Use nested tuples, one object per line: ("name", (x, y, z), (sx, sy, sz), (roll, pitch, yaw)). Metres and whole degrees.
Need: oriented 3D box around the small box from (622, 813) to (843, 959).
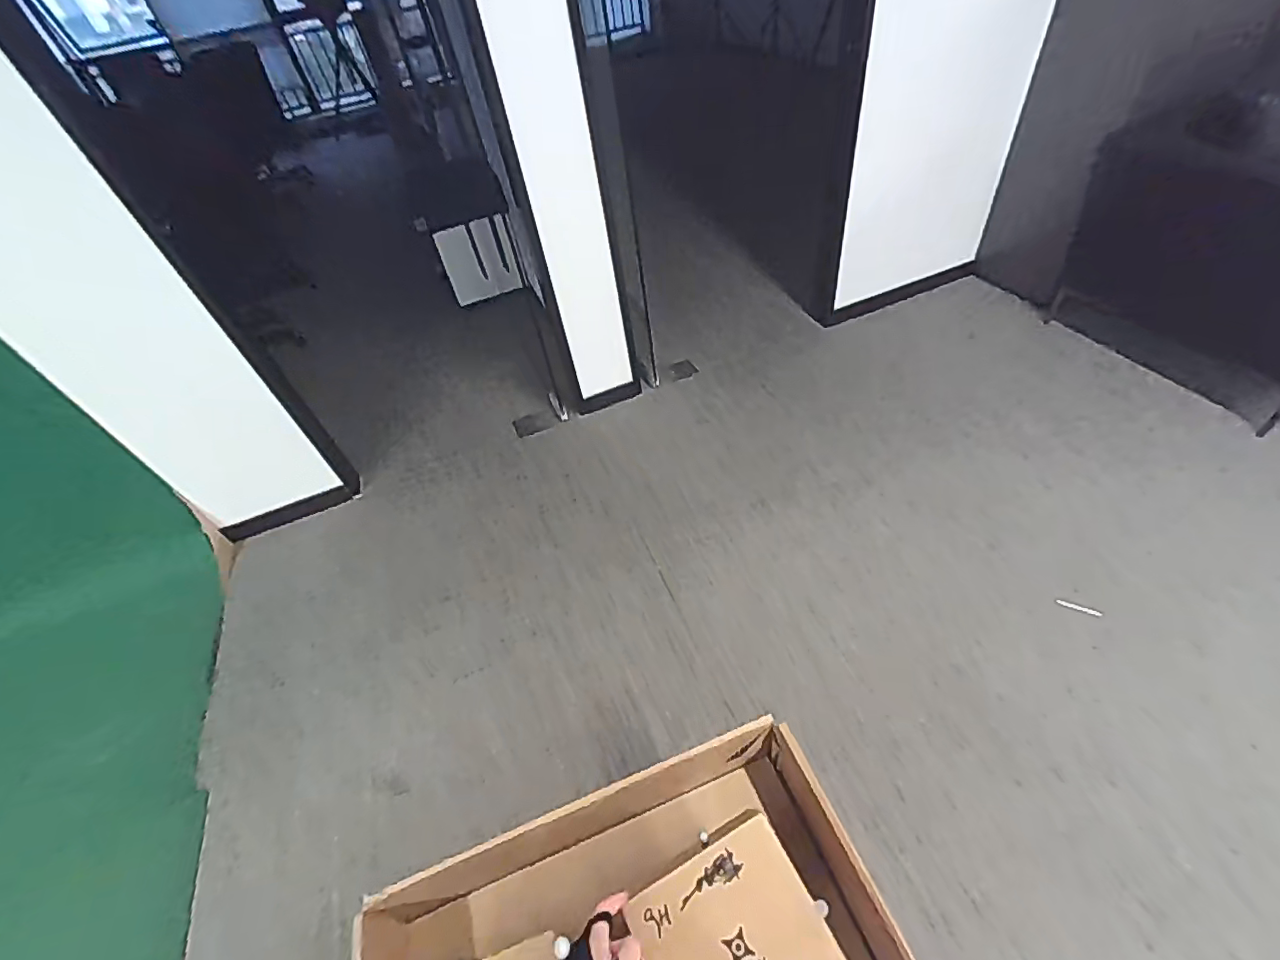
("small box", (0.103, 0.474, 0.557), (0.168, 0.176, 0.179), (-29, 61, -8))
